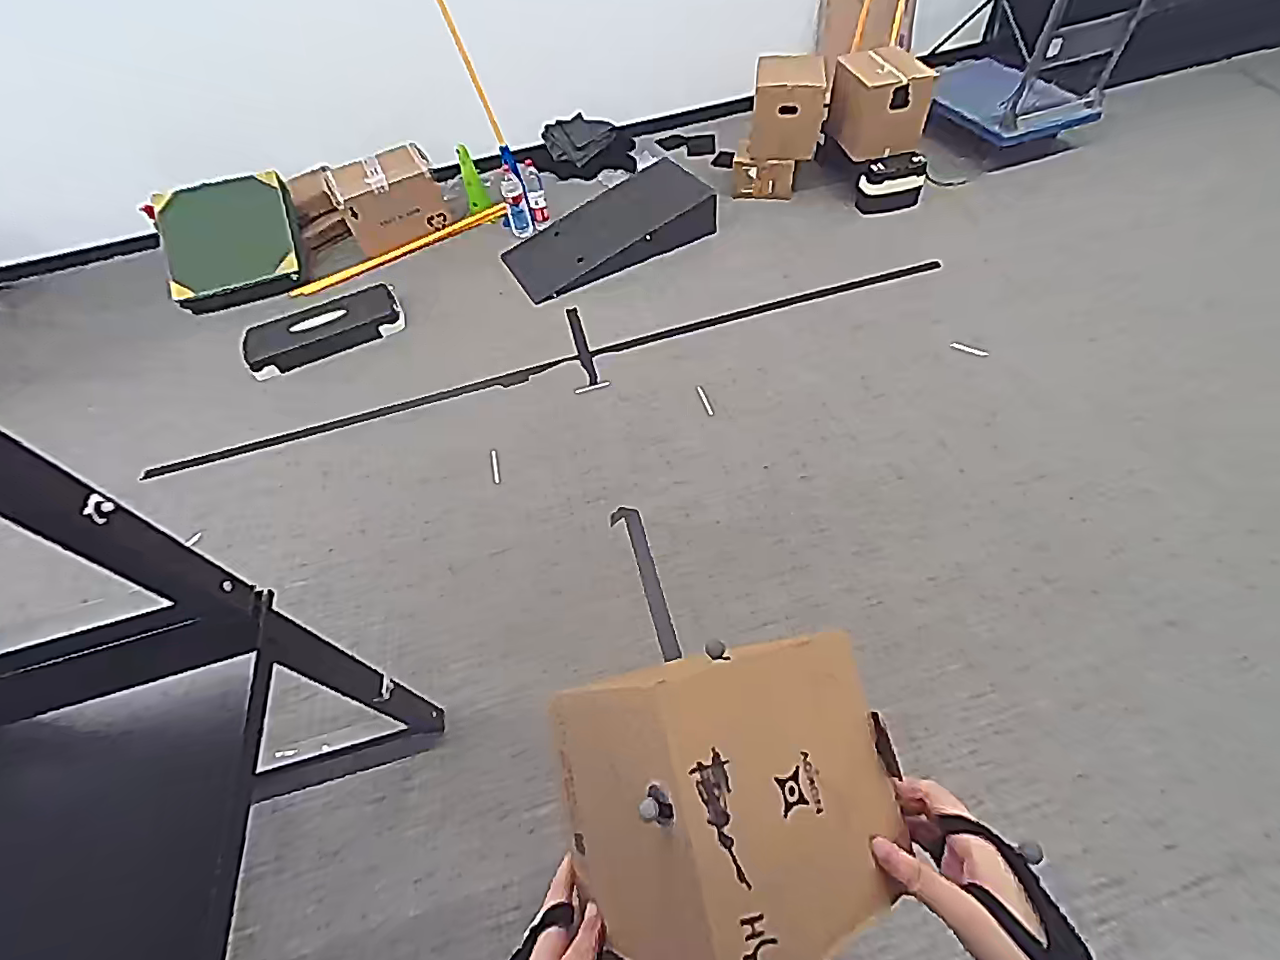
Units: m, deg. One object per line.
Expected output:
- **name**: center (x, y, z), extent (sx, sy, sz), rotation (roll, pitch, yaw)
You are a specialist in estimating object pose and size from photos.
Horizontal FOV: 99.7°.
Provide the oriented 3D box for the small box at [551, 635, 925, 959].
- **small box**: center (0.057, 0.215, 0.388), extent (0.179, 0.176, 0.168), rotation (0, 69, -34)
